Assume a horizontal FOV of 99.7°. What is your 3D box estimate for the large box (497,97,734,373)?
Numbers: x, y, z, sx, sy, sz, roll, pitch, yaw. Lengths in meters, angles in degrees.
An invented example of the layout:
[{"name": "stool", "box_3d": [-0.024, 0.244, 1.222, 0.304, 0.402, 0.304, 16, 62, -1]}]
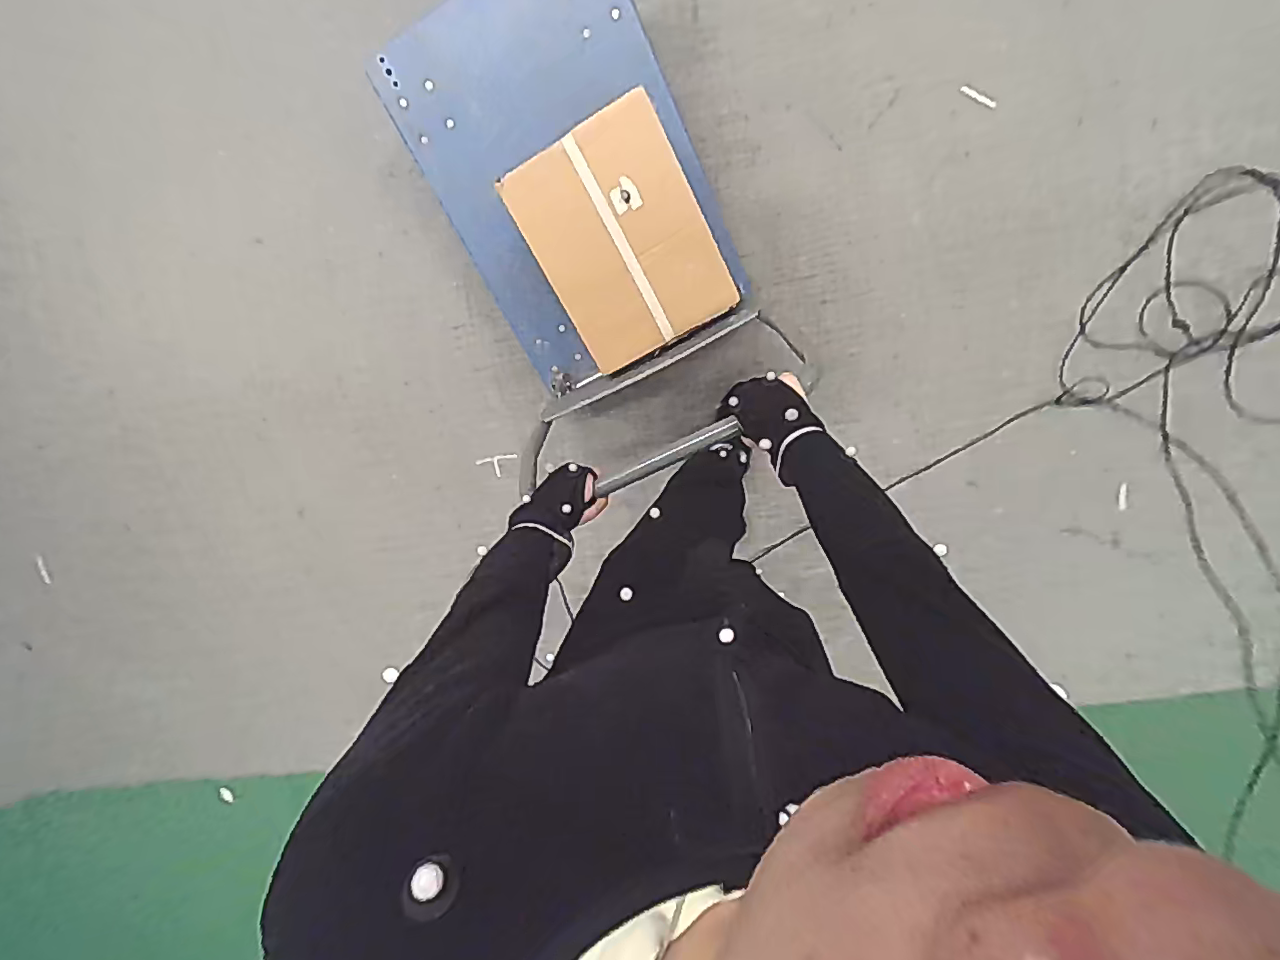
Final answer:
[{"name": "large box", "box_3d": [-0.034, -0.503, 1.179, 0.320, 0.320, 0.408, -27, 108, 11]}]
